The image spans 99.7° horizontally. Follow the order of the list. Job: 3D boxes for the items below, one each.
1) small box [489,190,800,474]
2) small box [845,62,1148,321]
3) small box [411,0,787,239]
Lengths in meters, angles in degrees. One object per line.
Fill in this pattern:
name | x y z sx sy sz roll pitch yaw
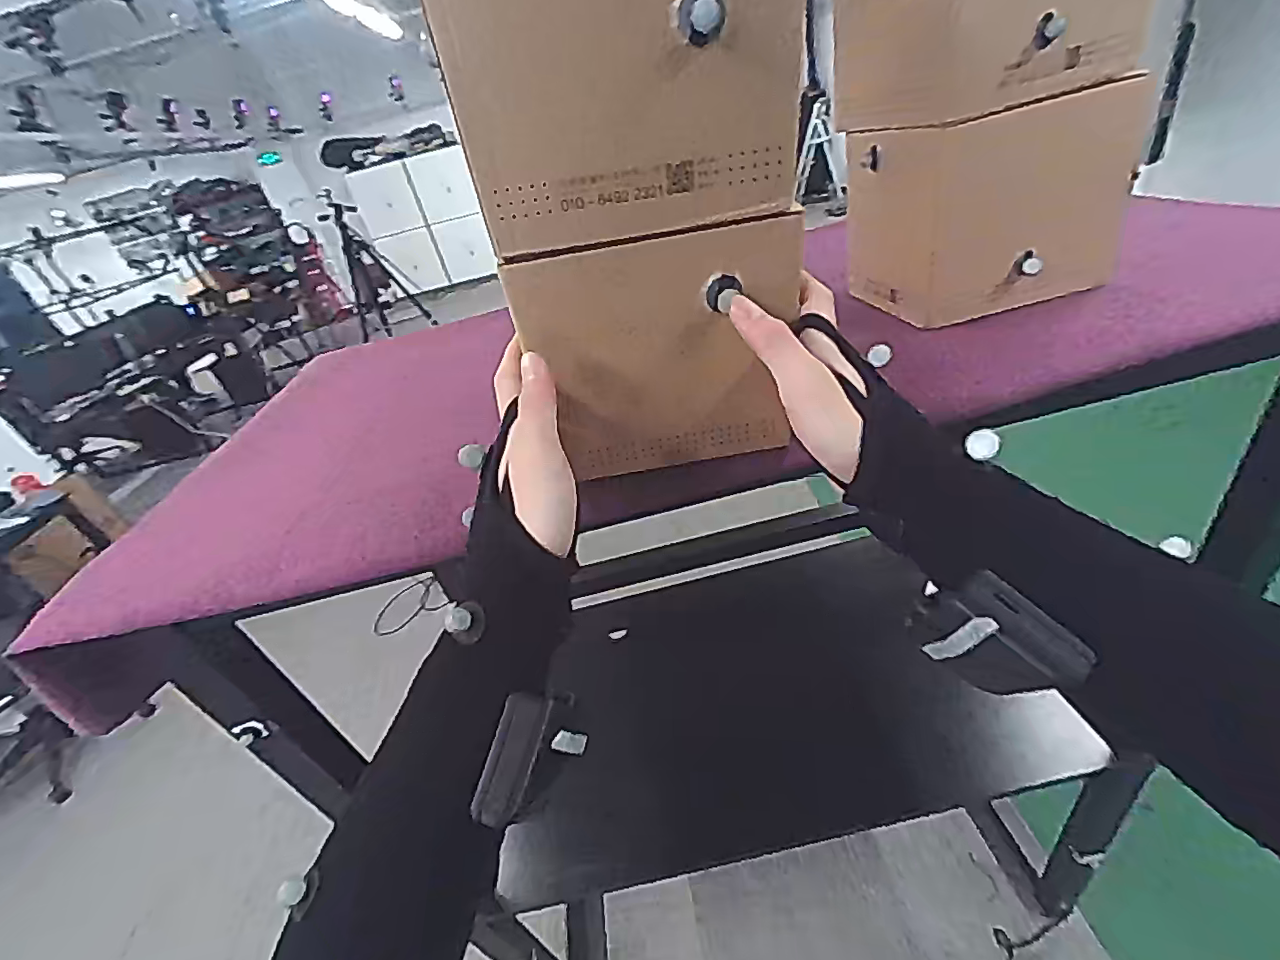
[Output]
small box | 0.006 -0.126 0.408 0.179 0.176 0.168 -9 42 2
small box | 0.316 -0.274 0.525 0.179 0.176 0.168 -15 32 1
small box | -0.018 -0.247 0.302 0.168 0.176 0.179 -8 42 1
